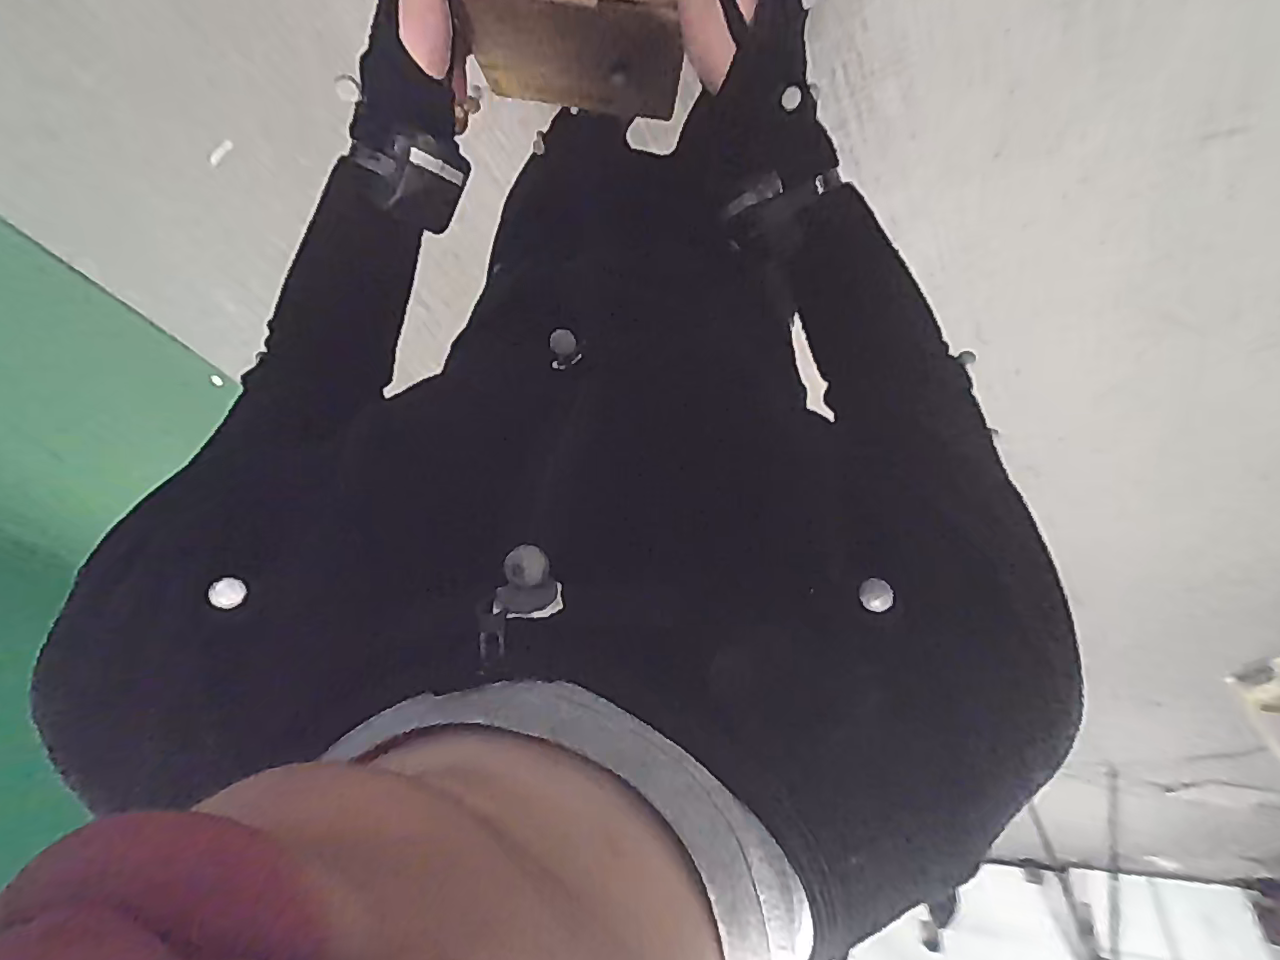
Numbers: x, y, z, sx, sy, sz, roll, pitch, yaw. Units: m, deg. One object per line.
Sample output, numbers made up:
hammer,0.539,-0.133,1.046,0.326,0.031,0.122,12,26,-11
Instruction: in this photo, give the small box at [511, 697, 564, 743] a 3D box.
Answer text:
small box,-0.477,1.135,2.557,0.179,0.176,0.168,-17,135,32
